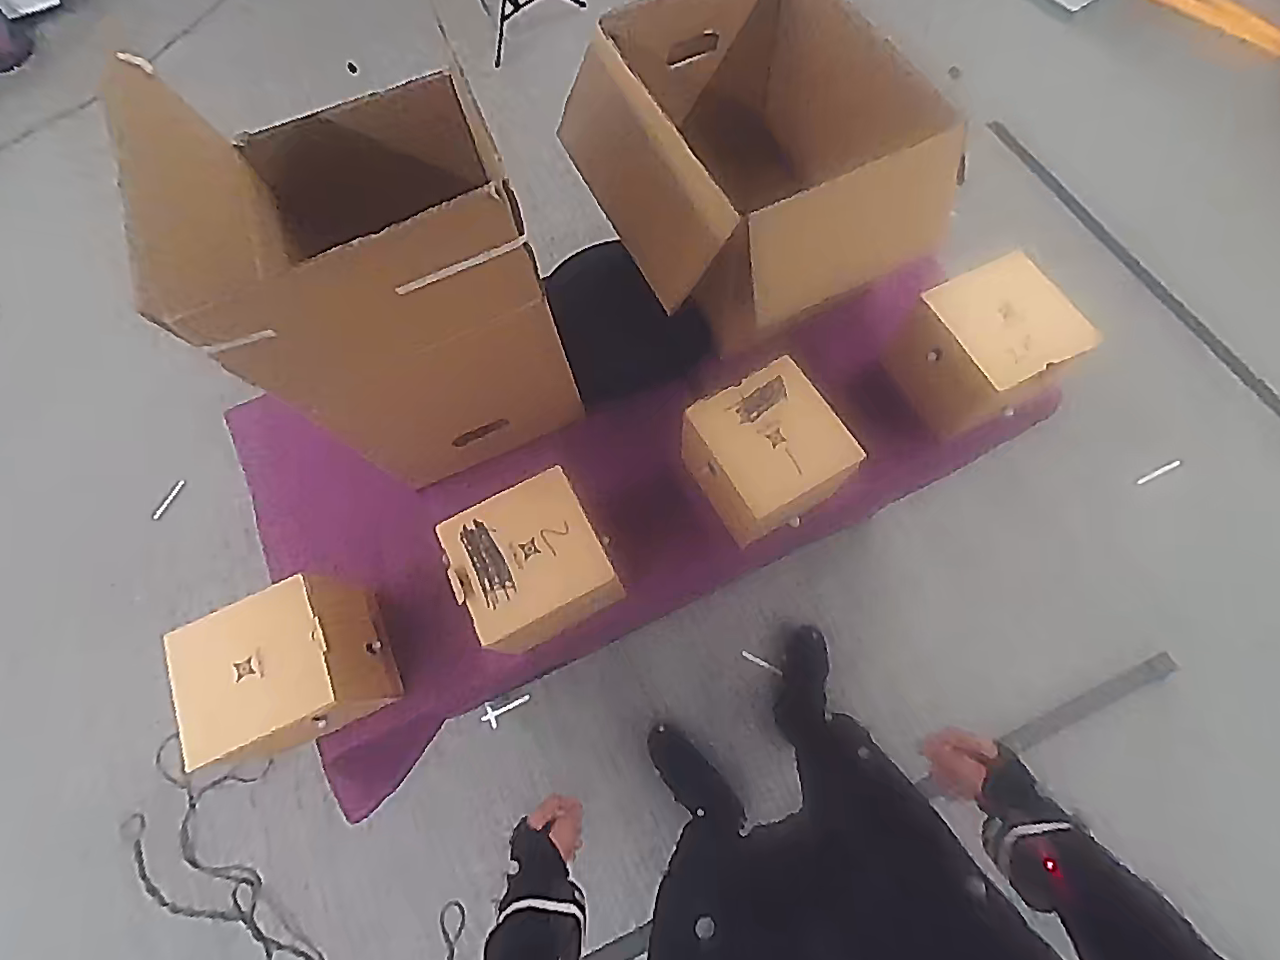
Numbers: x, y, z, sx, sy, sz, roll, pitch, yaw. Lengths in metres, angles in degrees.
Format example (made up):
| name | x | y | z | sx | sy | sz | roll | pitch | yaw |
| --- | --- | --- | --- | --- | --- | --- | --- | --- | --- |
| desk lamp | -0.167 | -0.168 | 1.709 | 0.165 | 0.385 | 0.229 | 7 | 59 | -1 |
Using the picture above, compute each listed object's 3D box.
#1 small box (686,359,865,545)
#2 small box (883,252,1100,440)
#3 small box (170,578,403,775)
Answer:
| name | x | y | z | sx | sy | sz | roll | pitch | yaw |
| --- | --- | --- | --- | --- | --- | --- | --- | --- | --- |
| small box | 0.174 | -0.031 | 0.765 | 0.168 | 0.176 | 0.179 | -29 | 72 | -6 |
| small box | 0.496 | -0.189 | 0.799 | 0.168 | 0.176 | 0.179 | -25 | 71 | -4 |
| small box | -0.446 | 0.252 | 0.704 | 0.179 | 0.176 | 0.168 | -26 | 71 | -7 |
